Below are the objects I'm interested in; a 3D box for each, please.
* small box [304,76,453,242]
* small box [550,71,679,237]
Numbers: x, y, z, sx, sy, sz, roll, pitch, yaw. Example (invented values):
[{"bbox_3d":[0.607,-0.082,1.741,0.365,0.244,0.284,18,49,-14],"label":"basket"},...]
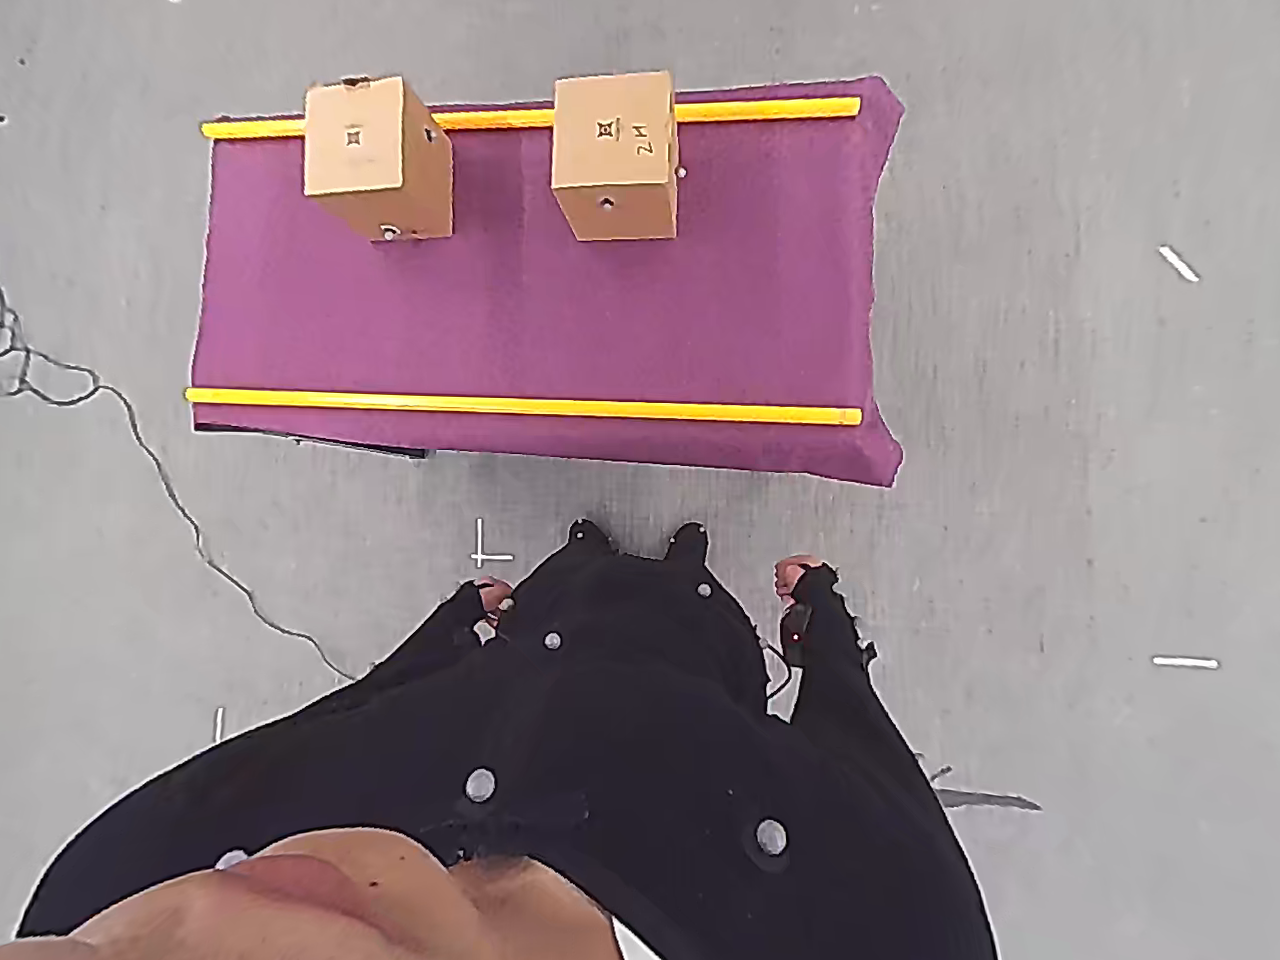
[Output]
[{"bbox_3d":[-0.430,-0.529,0.912,0.168,0.176,0.179,-1,88,7],"label":"small box"},{"bbox_3d":[-0.032,-0.504,0.861,0.179,0.176,0.168,2,89,7],"label":"small box"}]
